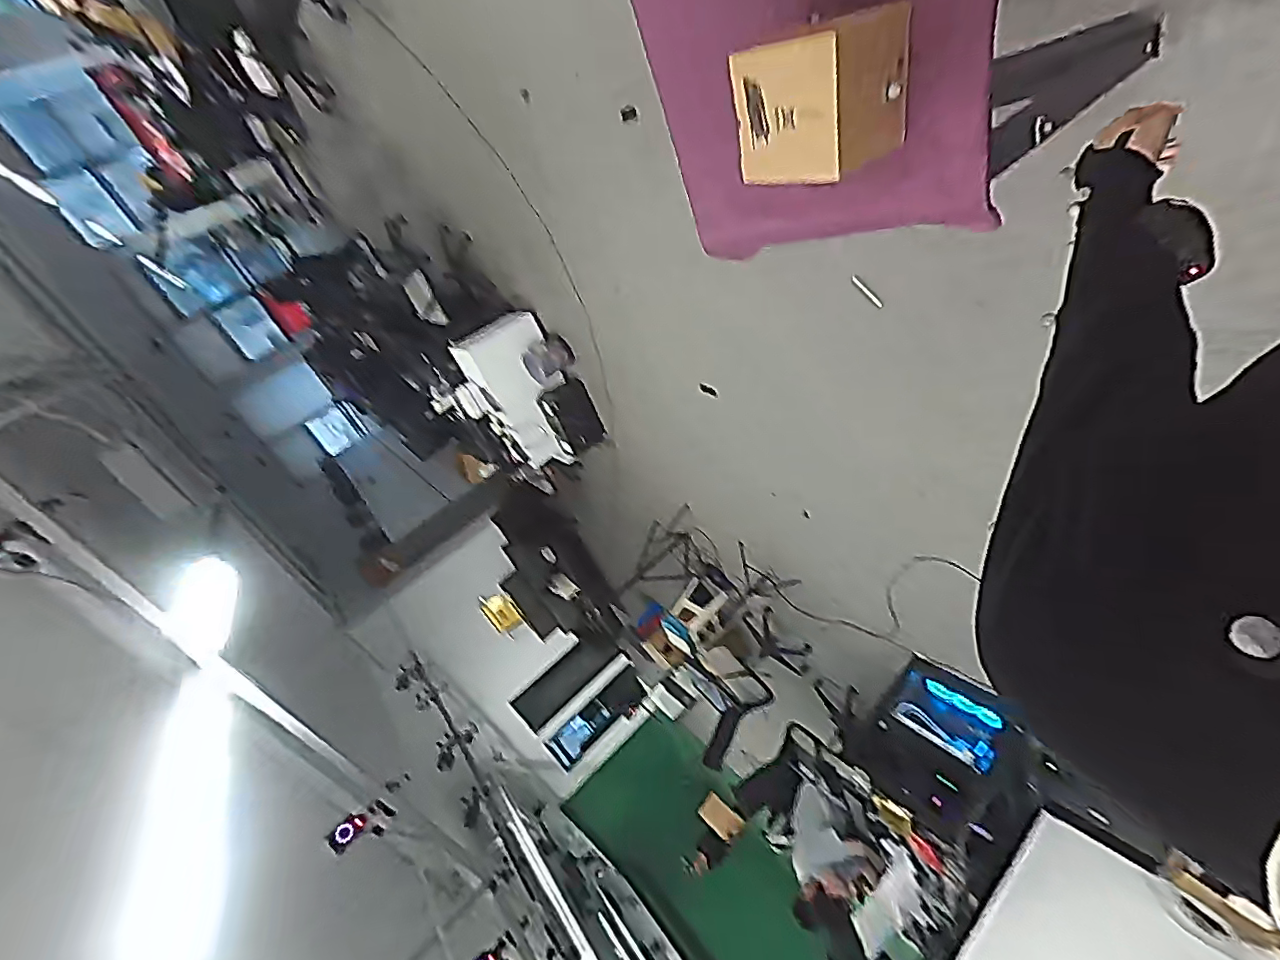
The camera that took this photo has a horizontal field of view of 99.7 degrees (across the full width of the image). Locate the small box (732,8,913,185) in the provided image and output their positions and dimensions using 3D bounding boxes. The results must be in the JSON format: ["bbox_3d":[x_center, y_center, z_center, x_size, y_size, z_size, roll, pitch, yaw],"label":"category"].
[{"bbox_3d":[0.262,-0.546,0.783,0.179,0.176,0.168,30,150,43],"label":"small box"}]
